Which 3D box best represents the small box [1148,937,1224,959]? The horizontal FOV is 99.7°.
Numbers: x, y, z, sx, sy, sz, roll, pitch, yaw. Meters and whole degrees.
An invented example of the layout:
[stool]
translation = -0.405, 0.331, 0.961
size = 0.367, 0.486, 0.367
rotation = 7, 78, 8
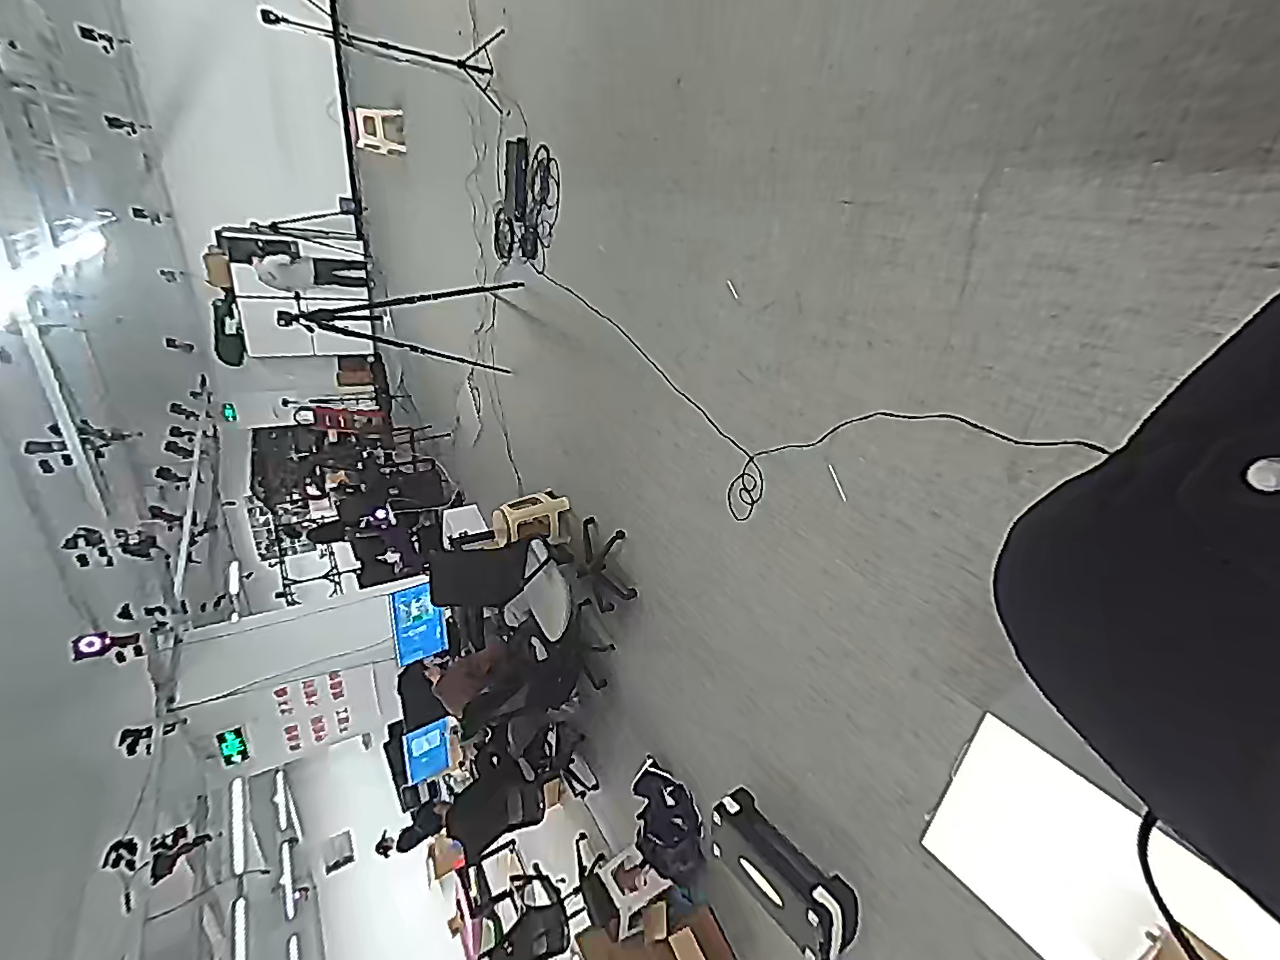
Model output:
[small box]
translation = 0.789, 0.791, 0.748
size = 0.179, 0.176, 0.168
rotation = 35, 128, 48
